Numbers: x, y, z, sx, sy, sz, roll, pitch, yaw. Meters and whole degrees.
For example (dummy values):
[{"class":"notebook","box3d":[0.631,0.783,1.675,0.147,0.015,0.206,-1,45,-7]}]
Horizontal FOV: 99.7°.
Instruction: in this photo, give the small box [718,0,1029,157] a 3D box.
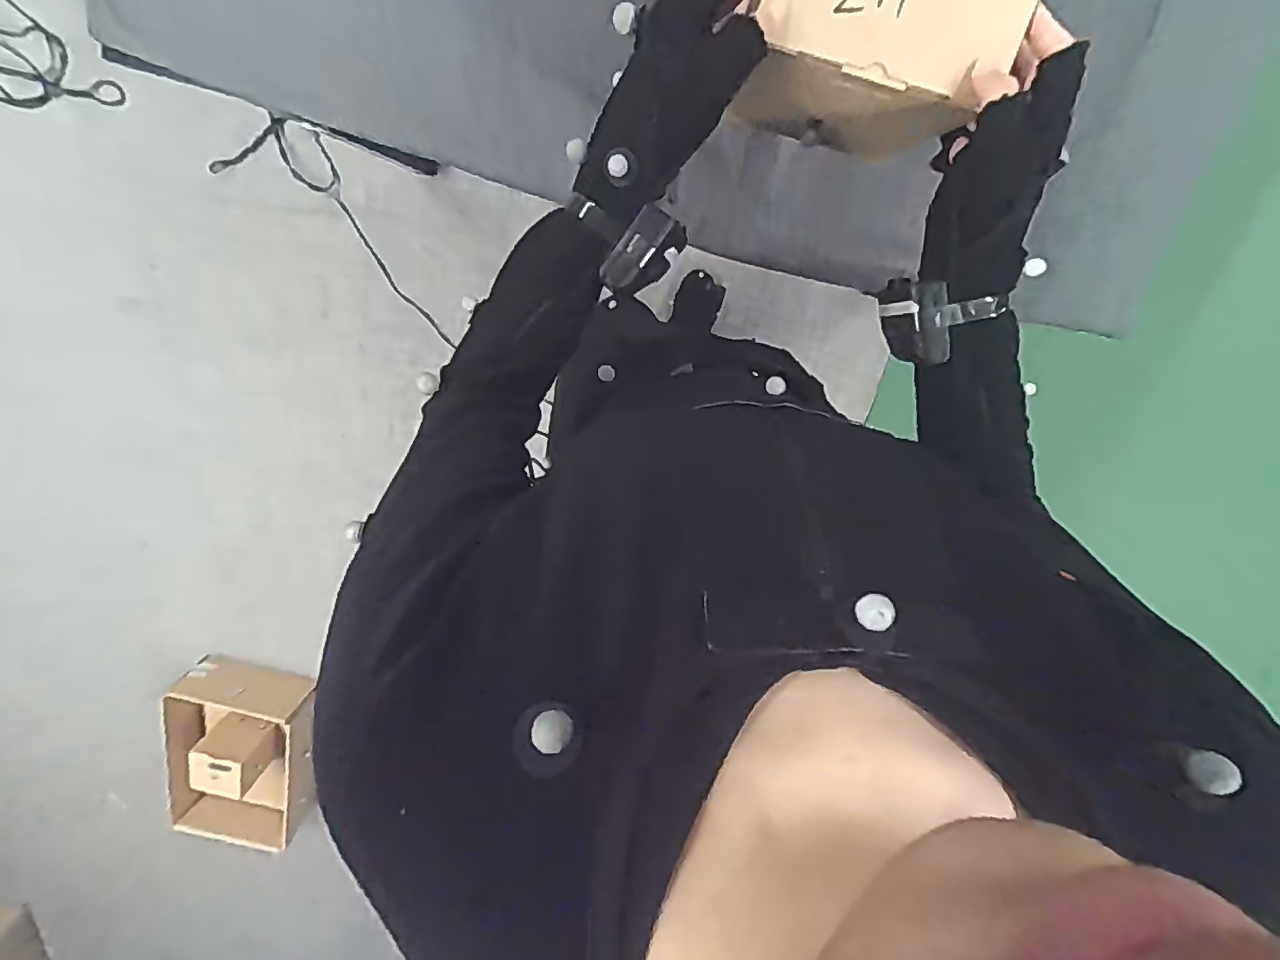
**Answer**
[{"class":"small box","box3d":[0.164,-0.364,0.388,0.168,0.176,0.179,13,110,-6]}]

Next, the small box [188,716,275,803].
[{"class":"small box","box3d":[-1.334,0.911,1.774,0.168,0.176,0.179,18,112,-3]}]
